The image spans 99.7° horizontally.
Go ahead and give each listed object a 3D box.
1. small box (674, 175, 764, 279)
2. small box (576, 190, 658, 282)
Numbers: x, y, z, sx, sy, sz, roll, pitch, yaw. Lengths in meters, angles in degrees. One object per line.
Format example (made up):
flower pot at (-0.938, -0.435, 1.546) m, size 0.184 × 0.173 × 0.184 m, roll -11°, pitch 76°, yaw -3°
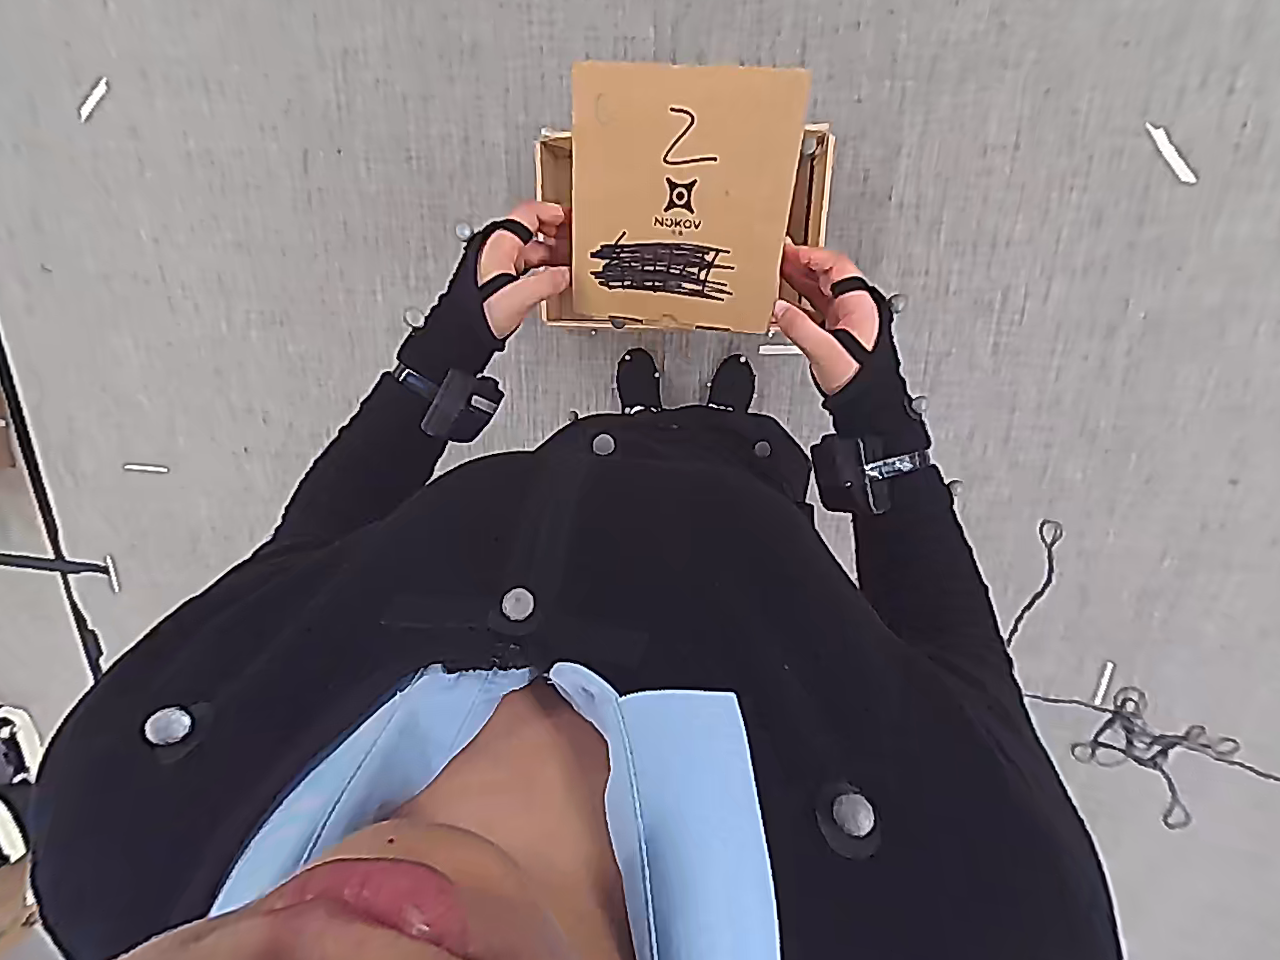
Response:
small box at (0.171, -0.553, 1.201) m, size 0.168 × 0.176 × 0.179 m, roll 8°, pitch 107°, yaw 5°
small box at (-0.045, -0.545, 1.227) m, size 0.168 × 0.176 × 0.179 m, roll 1°, pitch 106°, yaw 5°
